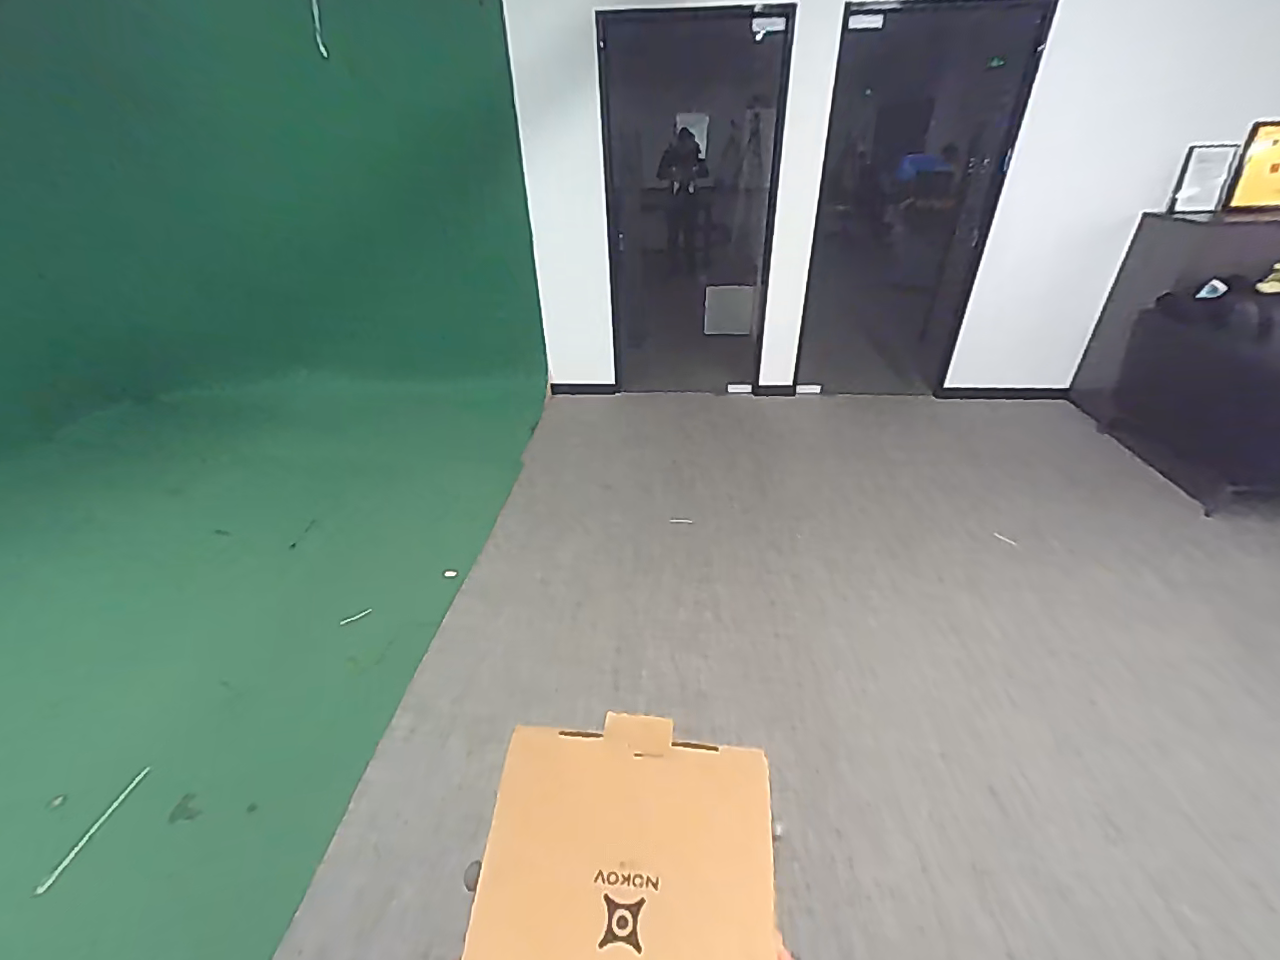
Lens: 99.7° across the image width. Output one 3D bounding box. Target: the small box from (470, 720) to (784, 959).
[{"bbox_3d":[-0.004,0.279,0.357,0.168,0.176,0.179,4,51,2],"label":"small box"}]
